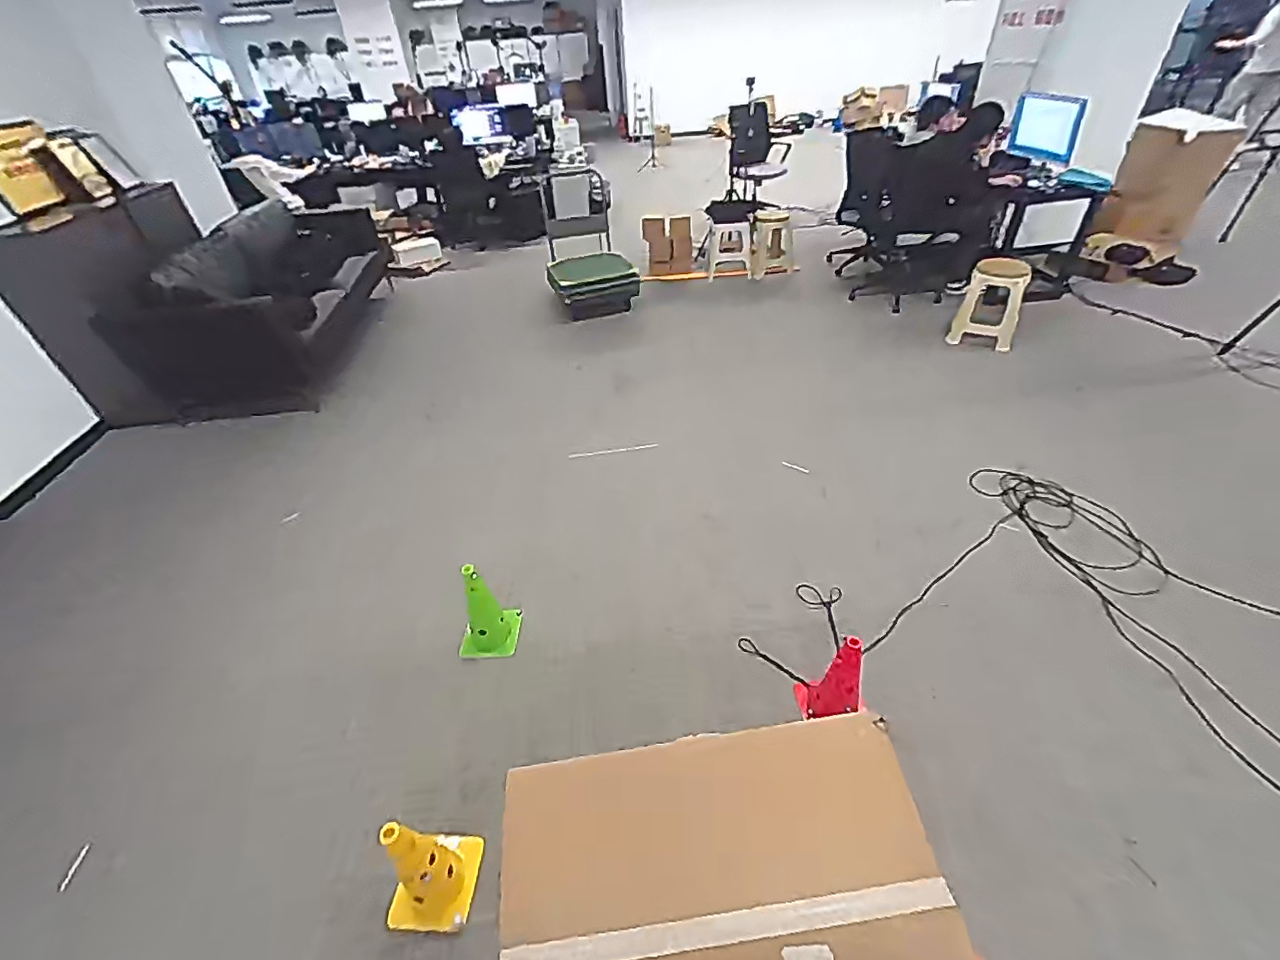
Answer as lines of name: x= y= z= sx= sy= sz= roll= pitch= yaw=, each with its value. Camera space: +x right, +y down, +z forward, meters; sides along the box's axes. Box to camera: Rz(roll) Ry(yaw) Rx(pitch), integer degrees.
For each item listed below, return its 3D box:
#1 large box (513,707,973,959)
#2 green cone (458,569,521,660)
large box: x=0.094 y=0.492 z=0.605 sx=0.408 sy=0.320 sz=0.320 roll=-10 pitch=51 yaw=0
green cone: x=-0.556 y=0.434 z=1.857 sx=0.200 sy=0.368 sz=0.202 roll=-4 pitch=41 yaw=2
